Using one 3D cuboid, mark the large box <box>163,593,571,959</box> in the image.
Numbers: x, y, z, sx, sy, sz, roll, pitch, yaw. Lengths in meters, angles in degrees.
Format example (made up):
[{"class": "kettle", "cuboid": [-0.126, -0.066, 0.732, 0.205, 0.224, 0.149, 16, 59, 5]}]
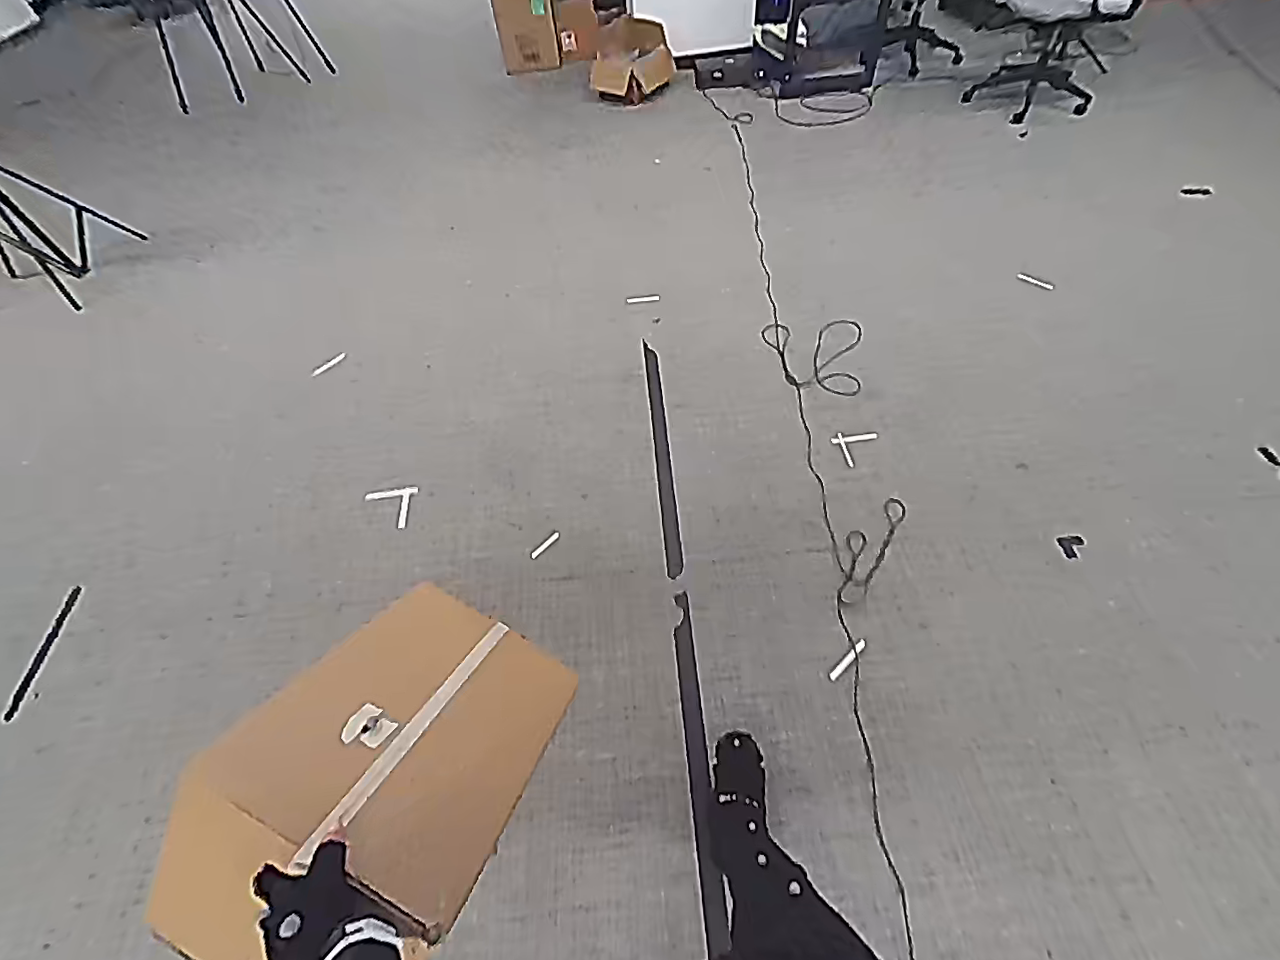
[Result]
[{"class": "large box", "cuboid": [-0.354, 0.448, 0.786, 0.320, 0.320, 0.408, 29, 23, 4]}]
